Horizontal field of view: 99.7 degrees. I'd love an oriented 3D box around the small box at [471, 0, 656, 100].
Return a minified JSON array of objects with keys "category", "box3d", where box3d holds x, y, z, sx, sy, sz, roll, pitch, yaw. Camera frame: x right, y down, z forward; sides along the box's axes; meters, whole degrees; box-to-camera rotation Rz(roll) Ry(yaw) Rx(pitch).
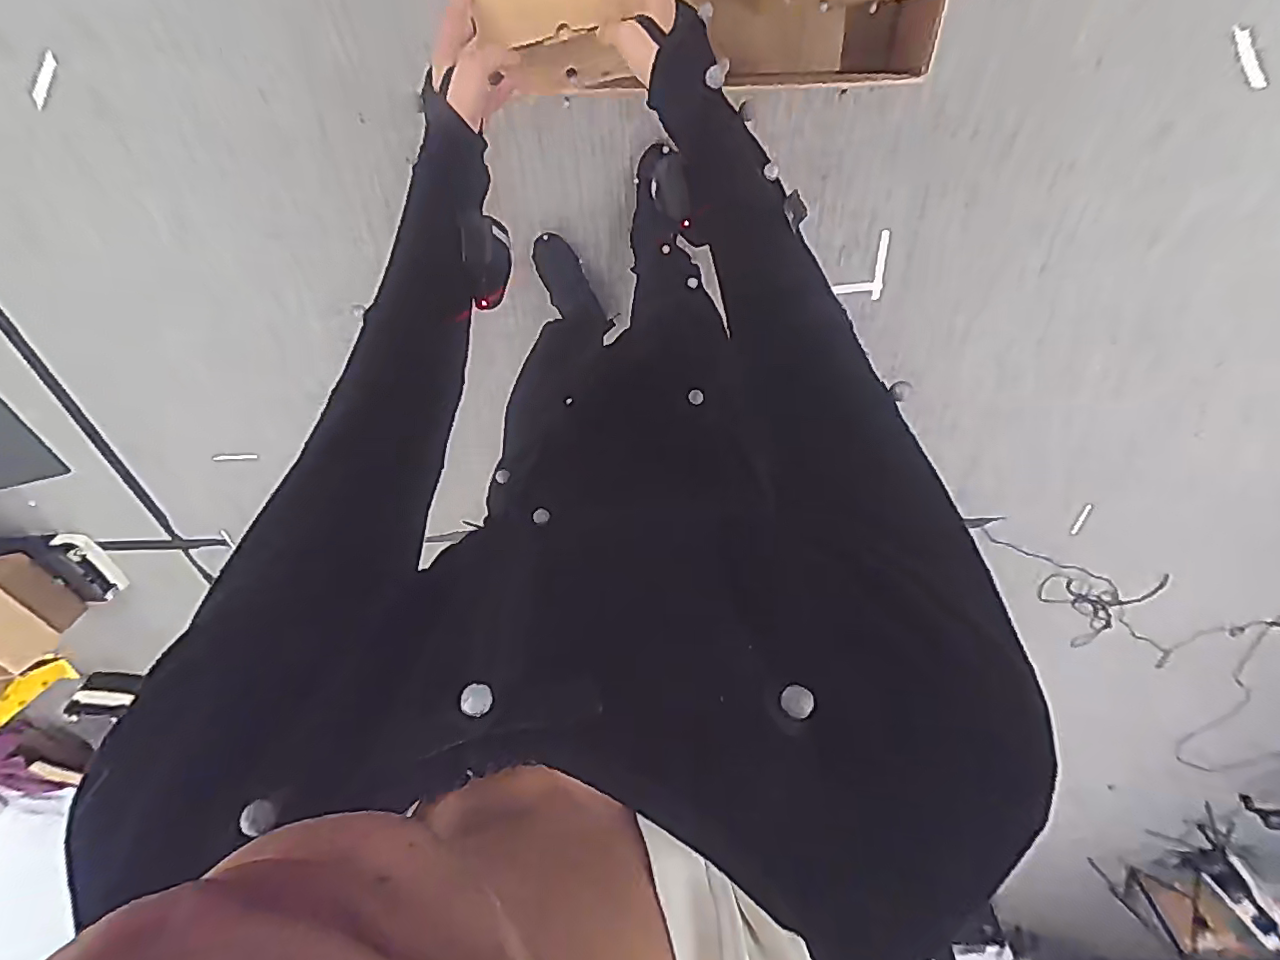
[{"category":"small box","box3d":[-0.078,-0.522,0.548,0.168,0.176,0.179,-8,114,8]}]
